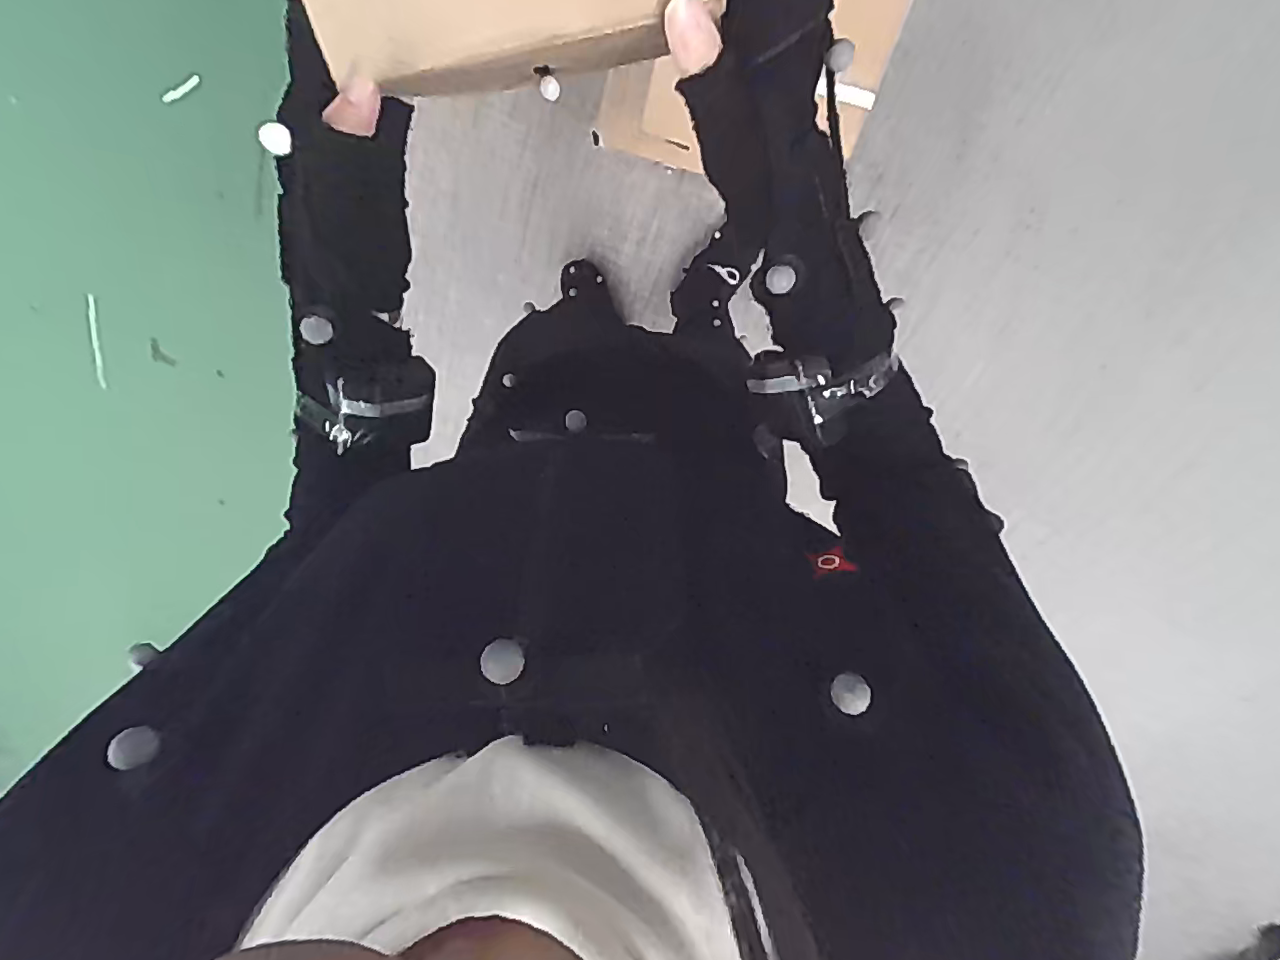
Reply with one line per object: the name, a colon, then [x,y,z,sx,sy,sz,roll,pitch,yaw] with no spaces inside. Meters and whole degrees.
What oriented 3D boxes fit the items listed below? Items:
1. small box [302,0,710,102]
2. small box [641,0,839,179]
small box: [-0.060,-0.296,0.258,0.179,0.176,0.168,-4,123,12]
small box: [0.114,-0.478,0.640,0.168,0.176,0.179,18,122,1]
